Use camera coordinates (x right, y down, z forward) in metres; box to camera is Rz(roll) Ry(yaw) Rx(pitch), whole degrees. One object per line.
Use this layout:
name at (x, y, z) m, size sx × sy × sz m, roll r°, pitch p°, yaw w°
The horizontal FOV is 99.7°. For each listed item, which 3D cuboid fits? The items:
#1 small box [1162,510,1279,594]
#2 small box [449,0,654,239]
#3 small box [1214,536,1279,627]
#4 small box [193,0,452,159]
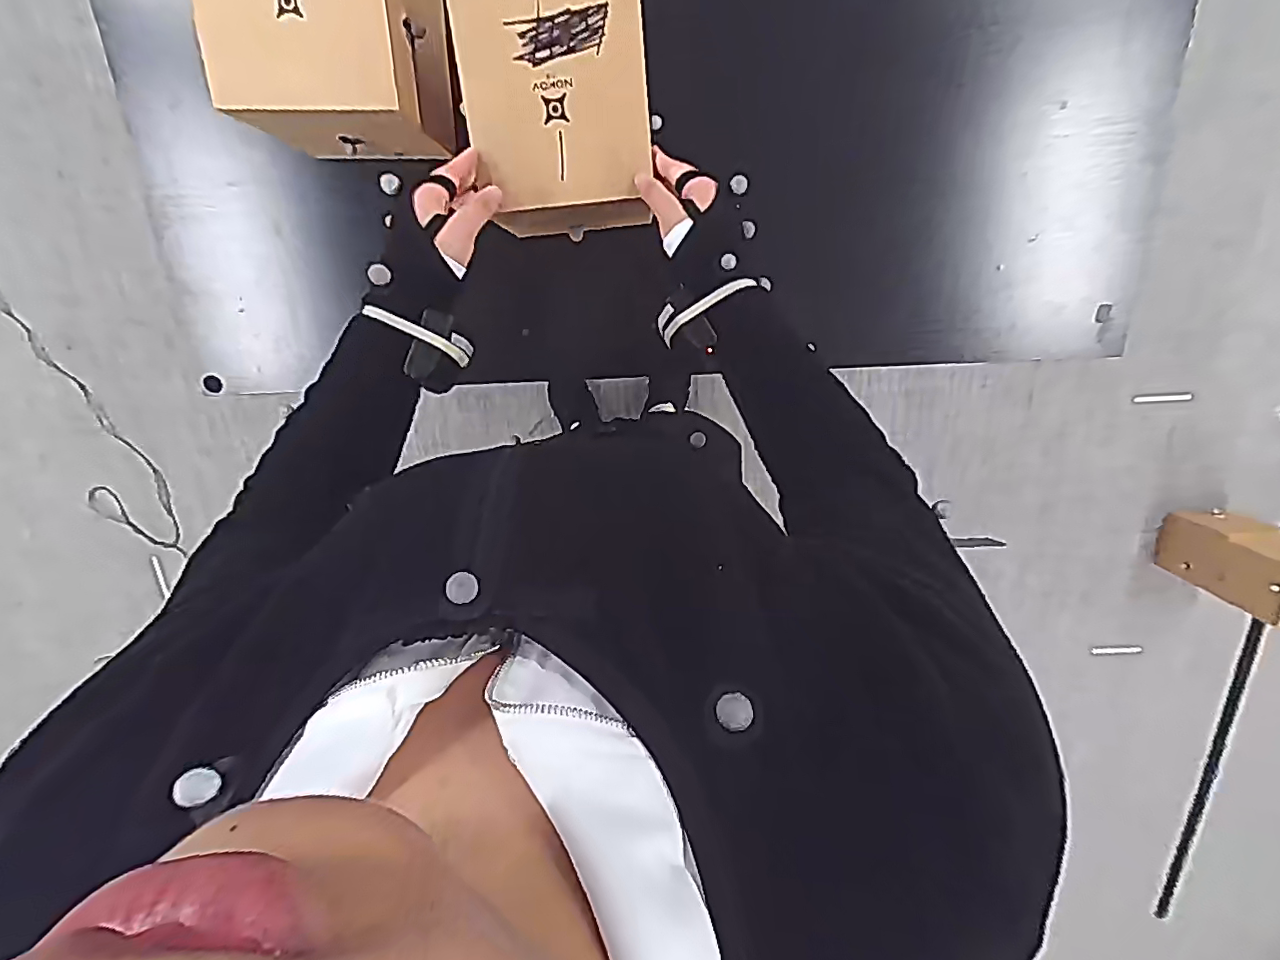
small box at (1.608, 0.195, 1.492) m, size 0.168 × 0.176 × 0.179 m, roll -4°, pitch 107°, yaw 0°
small box at (-0.076, -0.361, 0.557) m, size 0.168 × 0.176 × 0.179 m, roll -5°, pitch 107°, yaw 2°
small box at (1.606, 0.246, 1.336) m, size 0.179 × 0.176 × 0.168 m, roll -5°, pitch 108°, yaw 0°
small box at (-0.297, -0.434, 0.535) m, size 0.168 × 0.176 × 0.179 m, roll 0°, pitch 107°, yaw -1°
